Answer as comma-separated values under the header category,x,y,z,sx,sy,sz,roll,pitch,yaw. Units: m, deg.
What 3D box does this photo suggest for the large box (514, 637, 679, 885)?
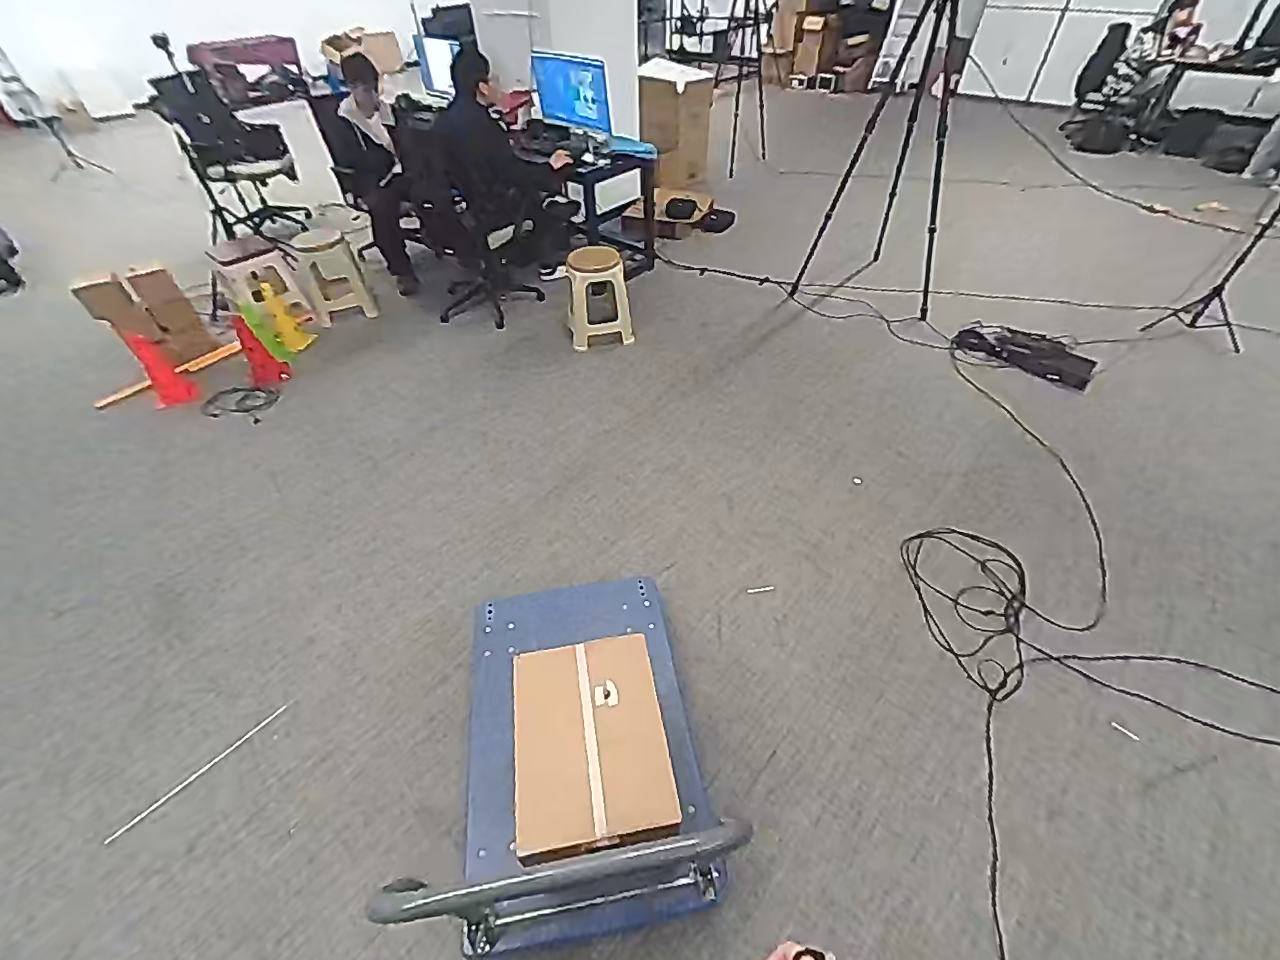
category,x,y,z,sx,sy,sz,roll,pitch,yaw
large box,-0.107,0.644,1.260,0.320,0.320,0.408,-7,44,-7
